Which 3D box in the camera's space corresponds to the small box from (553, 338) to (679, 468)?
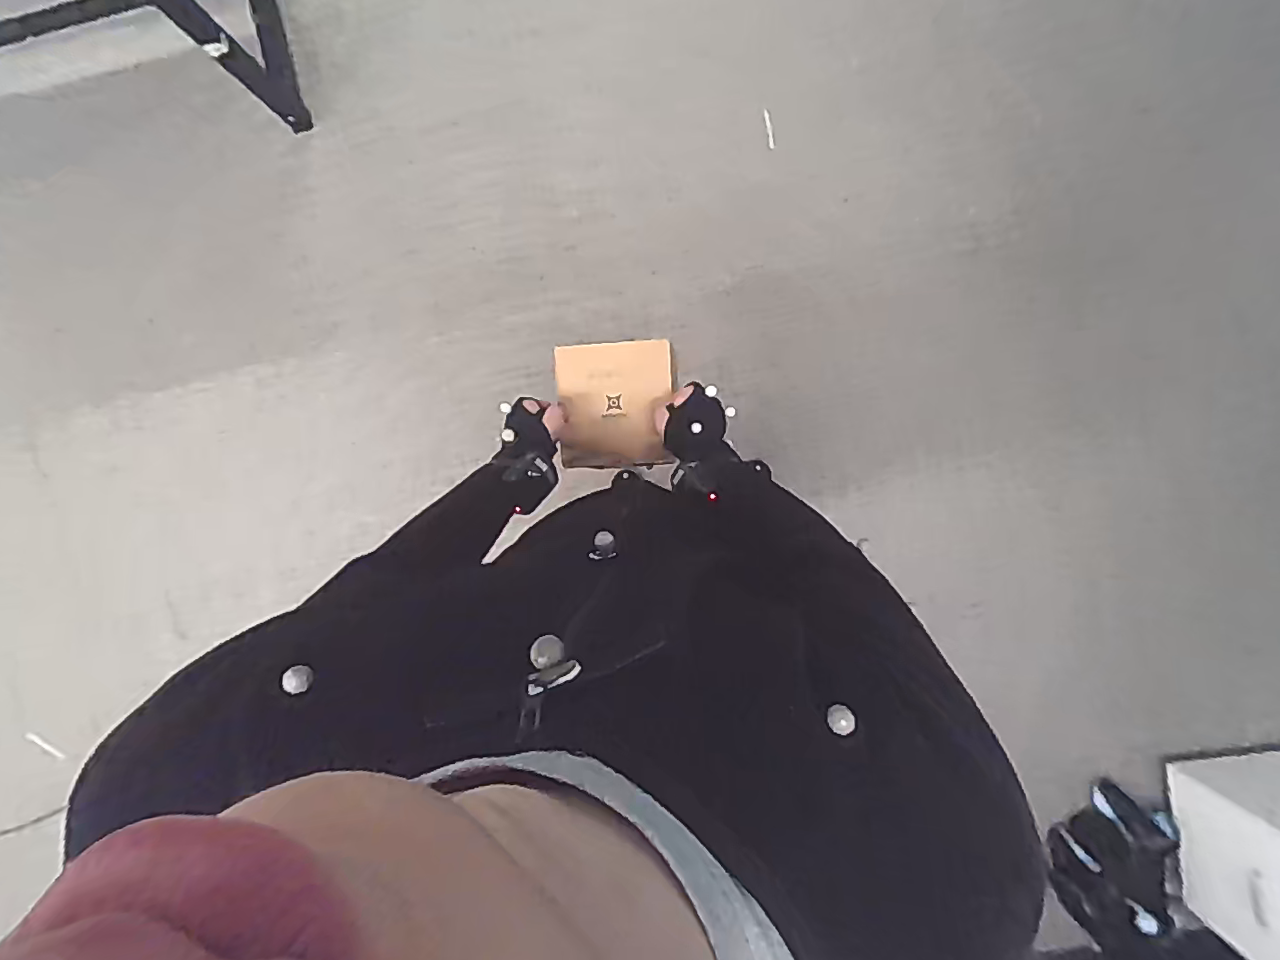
[{"bbox_3d":[-0.027,-0.118,0.838,0.168,0.176,0.179,-3,97,7],"label":"small box"}]
